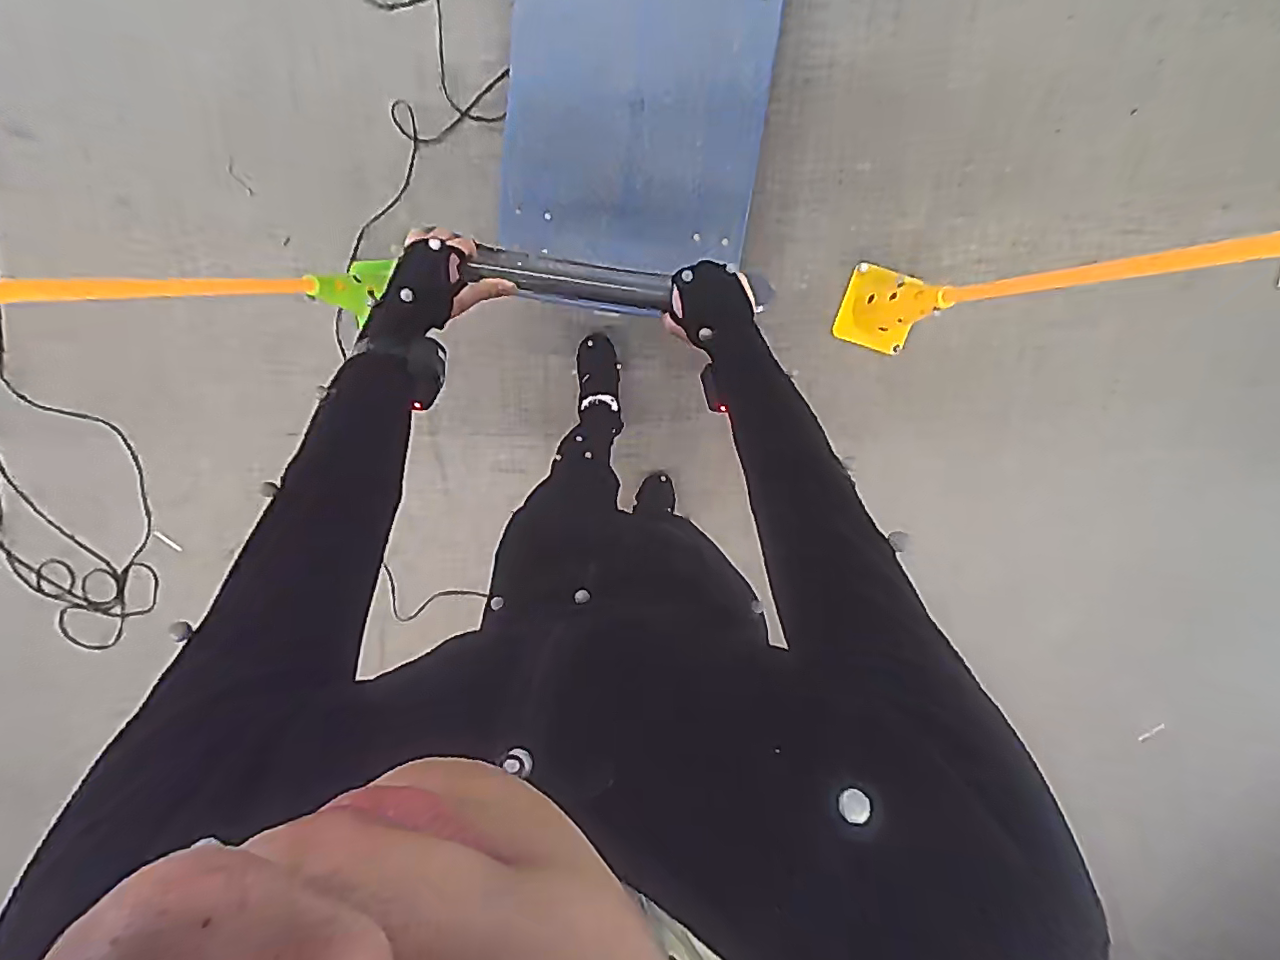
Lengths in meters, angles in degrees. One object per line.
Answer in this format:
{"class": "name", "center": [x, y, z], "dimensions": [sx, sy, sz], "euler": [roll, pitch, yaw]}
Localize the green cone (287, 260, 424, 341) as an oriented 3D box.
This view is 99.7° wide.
{"class": "green cone", "center": [-0.703, -0.446, 1.300], "dimensions": [0.202, 0.368, 0.200], "euler": [-3, 103, 4]}
